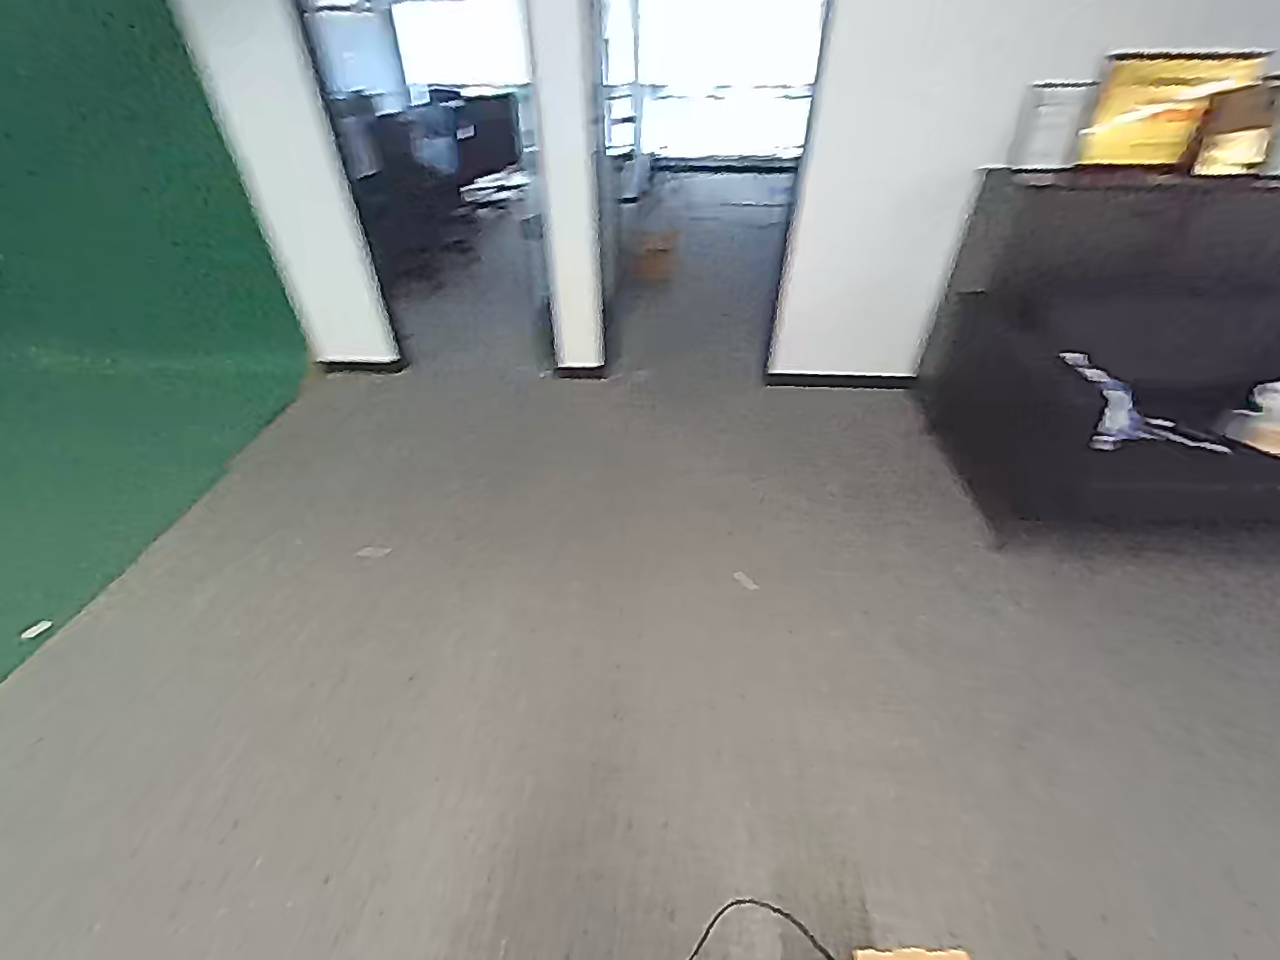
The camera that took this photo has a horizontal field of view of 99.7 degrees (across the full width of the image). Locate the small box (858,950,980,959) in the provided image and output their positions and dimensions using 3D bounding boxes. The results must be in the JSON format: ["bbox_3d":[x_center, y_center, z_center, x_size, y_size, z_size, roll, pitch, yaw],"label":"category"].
[{"bbox_3d":[0.413,0.806,0.773,0.168,0.176,0.179,-1,37,1],"label":"small box"}]
